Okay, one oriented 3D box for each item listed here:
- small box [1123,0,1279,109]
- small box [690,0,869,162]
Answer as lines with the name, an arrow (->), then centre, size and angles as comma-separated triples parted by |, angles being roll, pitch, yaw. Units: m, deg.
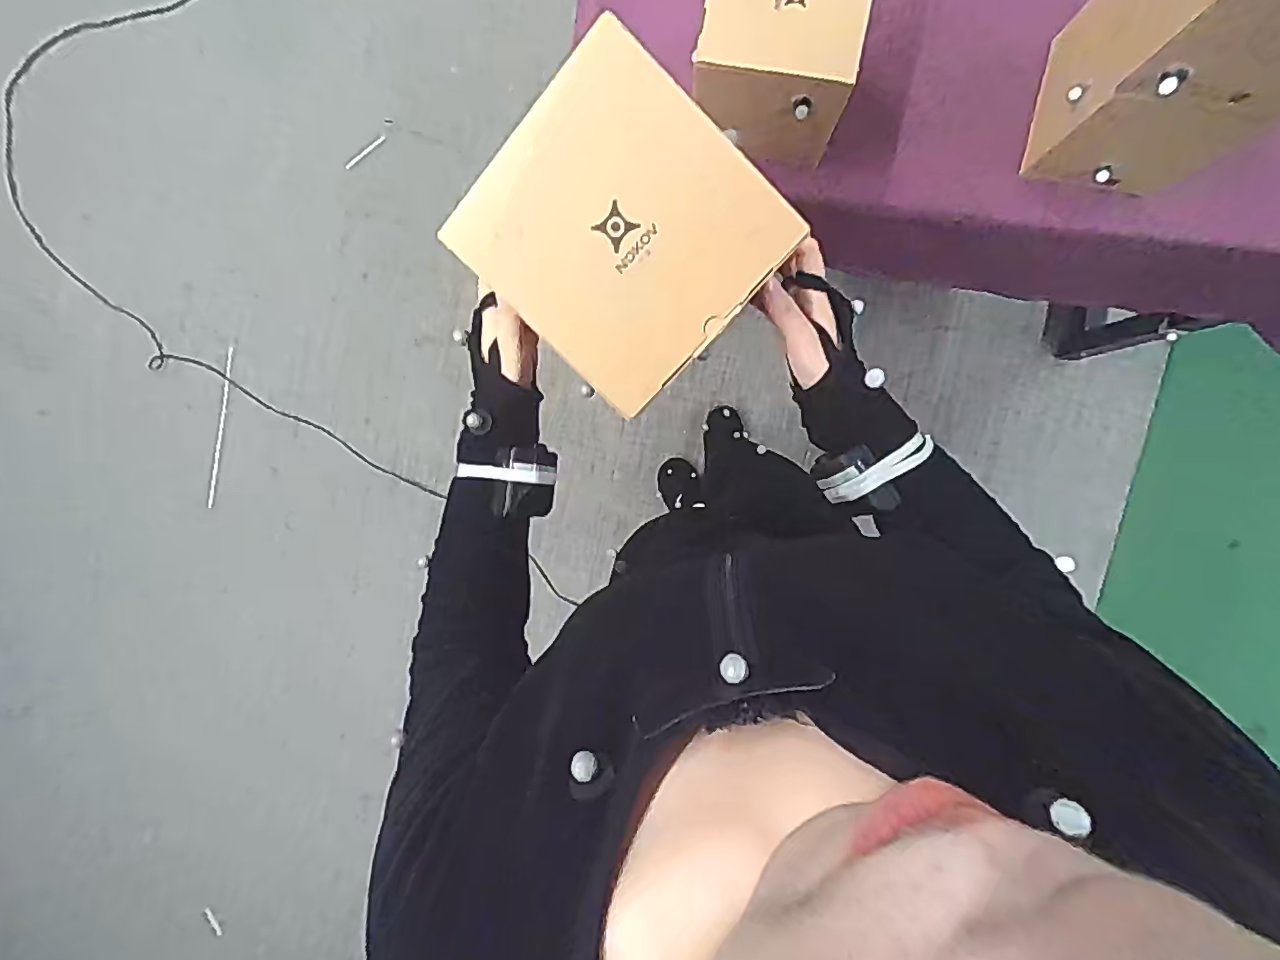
small box -> 0.564, -0.454, 0.449 | 0.168, 0.176, 0.179 | 14, 94, 5
small box -> 0.162, -0.516, 0.653 | 0.179, 0.176, 0.168 | 11, 93, 5
